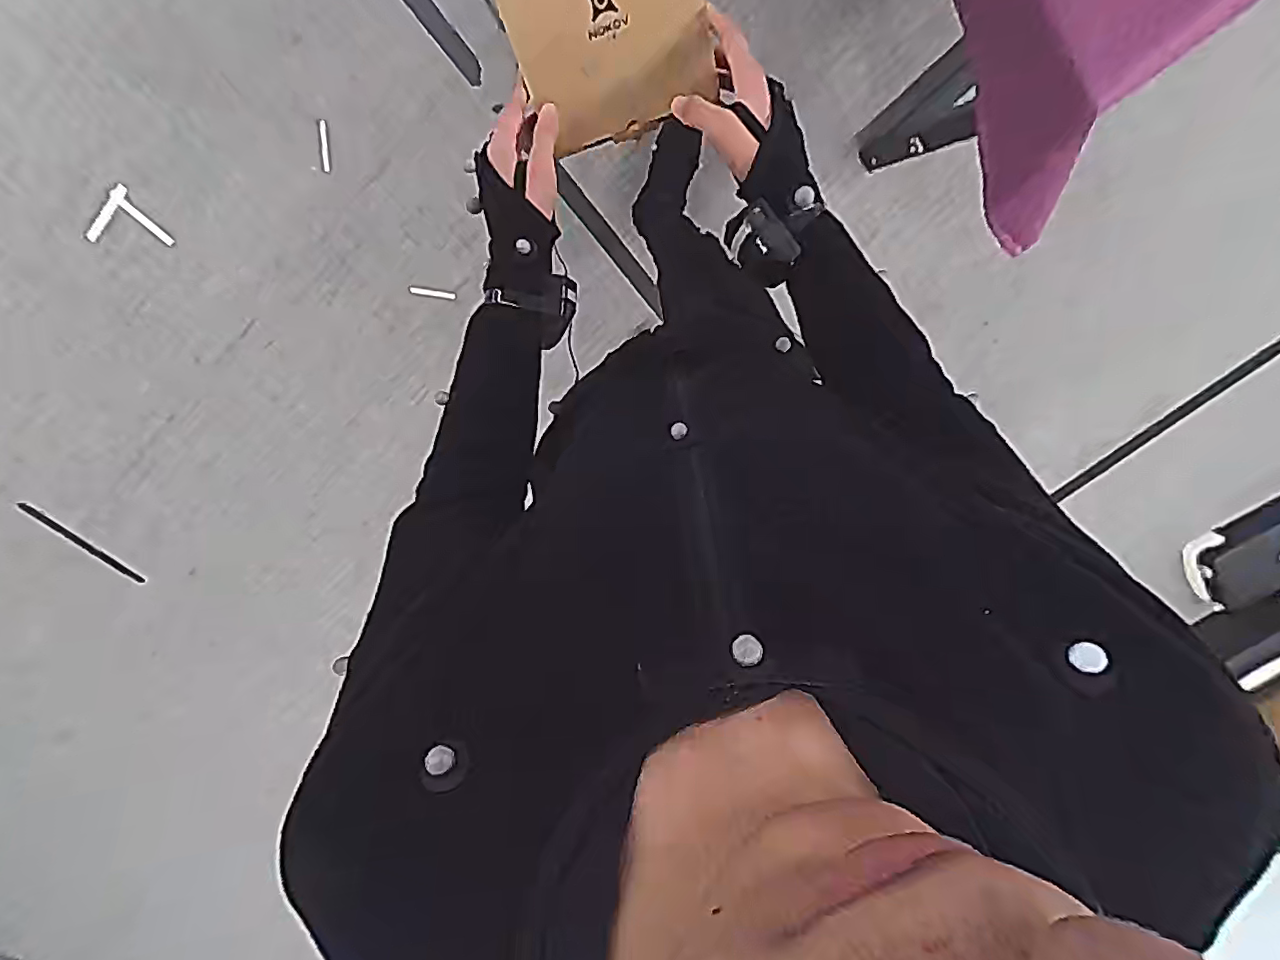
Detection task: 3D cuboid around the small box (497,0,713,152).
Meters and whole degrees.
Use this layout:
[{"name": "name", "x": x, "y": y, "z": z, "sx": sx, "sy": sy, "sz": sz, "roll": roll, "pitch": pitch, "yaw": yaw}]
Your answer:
[{"name": "small box", "x": -0.034, "y": -0.447, "z": 0.512, "sx": 0.168, "sy": 0.176, "sz": 0.179, "roll": -14, "pitch": 128, "yaw": 10}]
